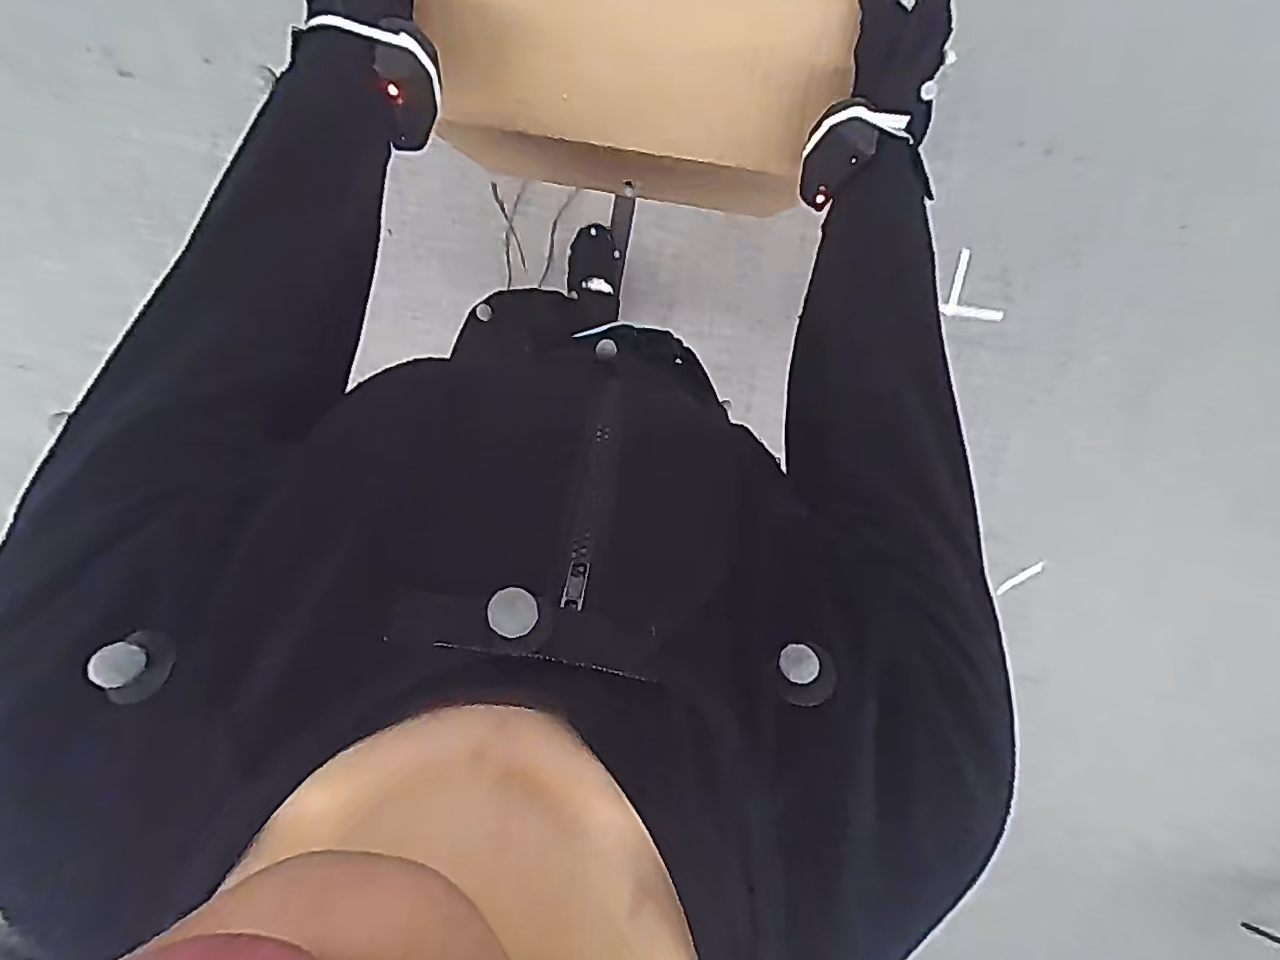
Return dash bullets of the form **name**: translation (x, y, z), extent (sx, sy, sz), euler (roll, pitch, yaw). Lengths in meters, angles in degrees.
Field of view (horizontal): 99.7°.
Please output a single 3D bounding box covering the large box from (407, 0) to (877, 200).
- **large box**: translation (0.010, -0.507, 0.578), extent (0.408, 0.320, 0.320), euler (7, 110, -3)
